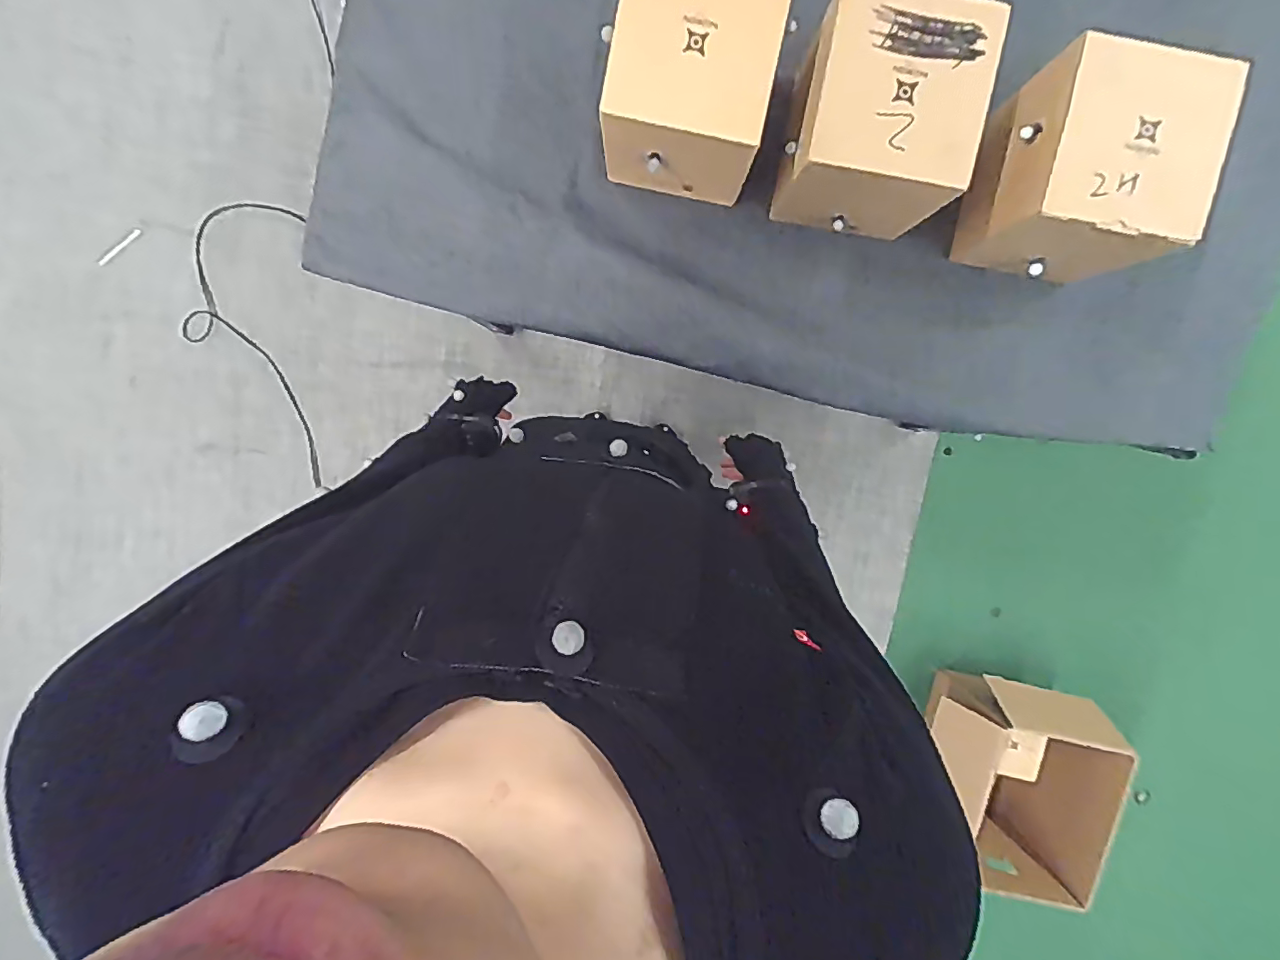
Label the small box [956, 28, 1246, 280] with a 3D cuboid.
[{"bbox_3d":[0.497,-0.349,0.614,0.168,0.176,0.179,11,97,0],"label":"small box"}]
